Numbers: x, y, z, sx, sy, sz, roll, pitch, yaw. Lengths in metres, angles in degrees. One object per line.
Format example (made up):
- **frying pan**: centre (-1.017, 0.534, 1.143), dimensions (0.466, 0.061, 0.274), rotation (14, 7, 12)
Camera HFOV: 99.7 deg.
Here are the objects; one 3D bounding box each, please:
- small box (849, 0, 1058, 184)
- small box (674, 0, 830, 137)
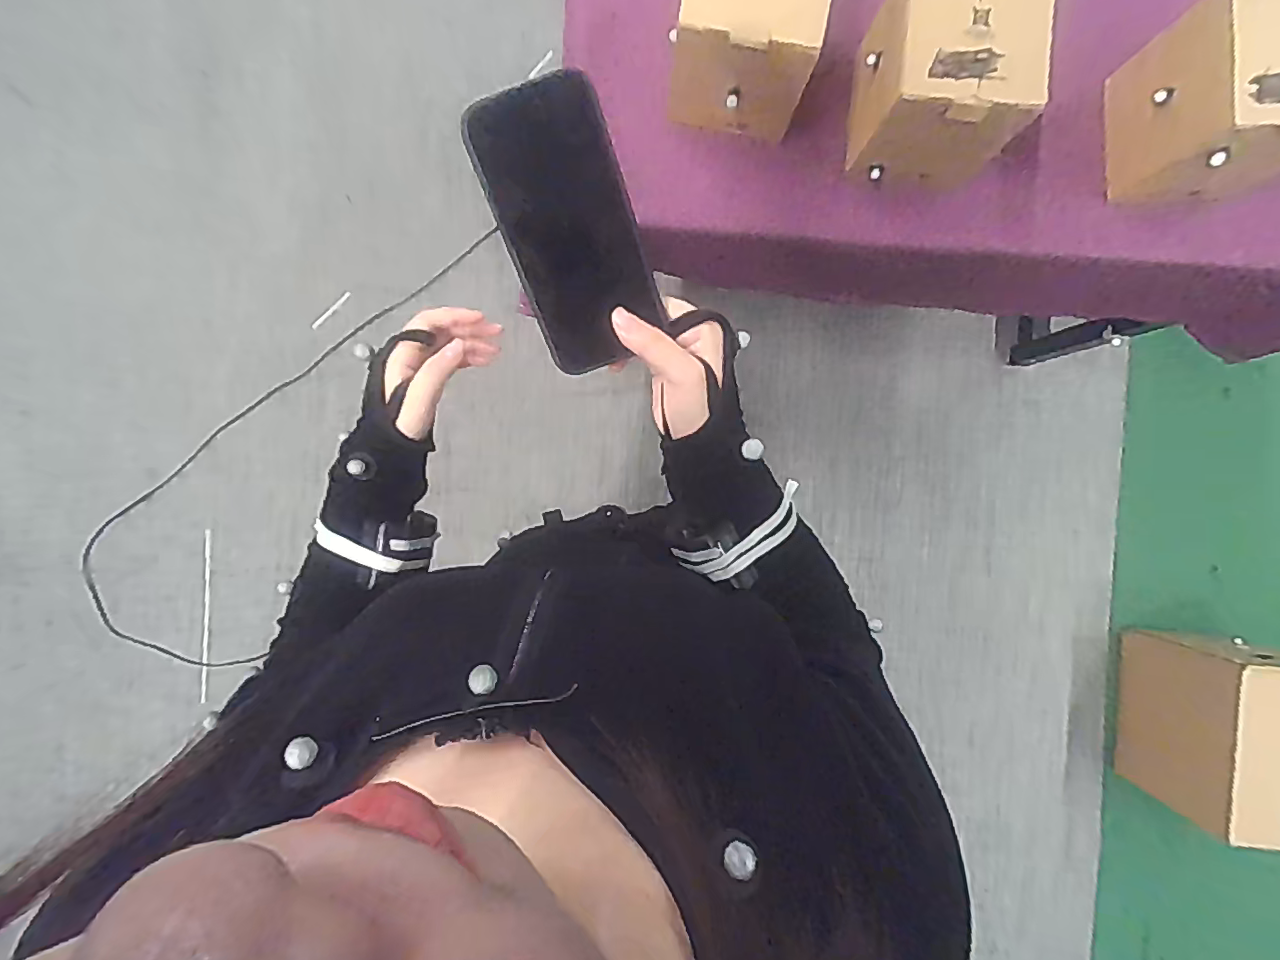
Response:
- **small box**: centre (0.379, -0.505, 0.682), dimensions (0.168, 0.176, 0.179), rotation (5, 90, -1)
- **small box**: centre (0.139, -0.575, 0.680), dimensions (0.168, 0.176, 0.179), rotation (12, 91, -1)
